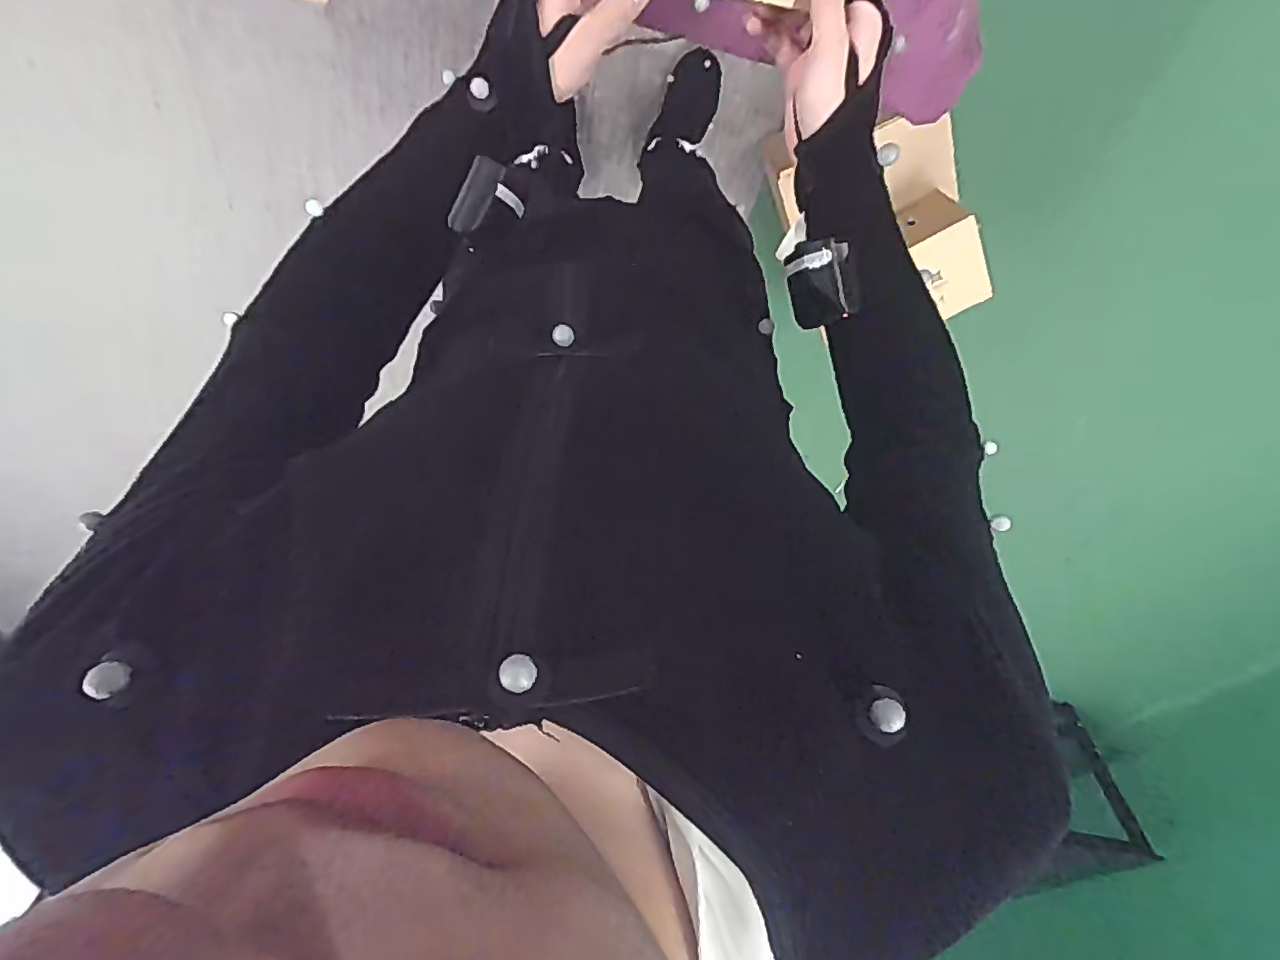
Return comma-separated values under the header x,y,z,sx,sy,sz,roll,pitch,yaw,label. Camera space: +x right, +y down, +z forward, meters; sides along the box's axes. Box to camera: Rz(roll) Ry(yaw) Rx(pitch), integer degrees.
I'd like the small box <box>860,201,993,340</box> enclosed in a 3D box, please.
x,y,z,sx,sy,sz,roll,pitch,yaw,label
0.551,-0.416,1.057,0.168,0.176,0.179,-24,126,23,small box
